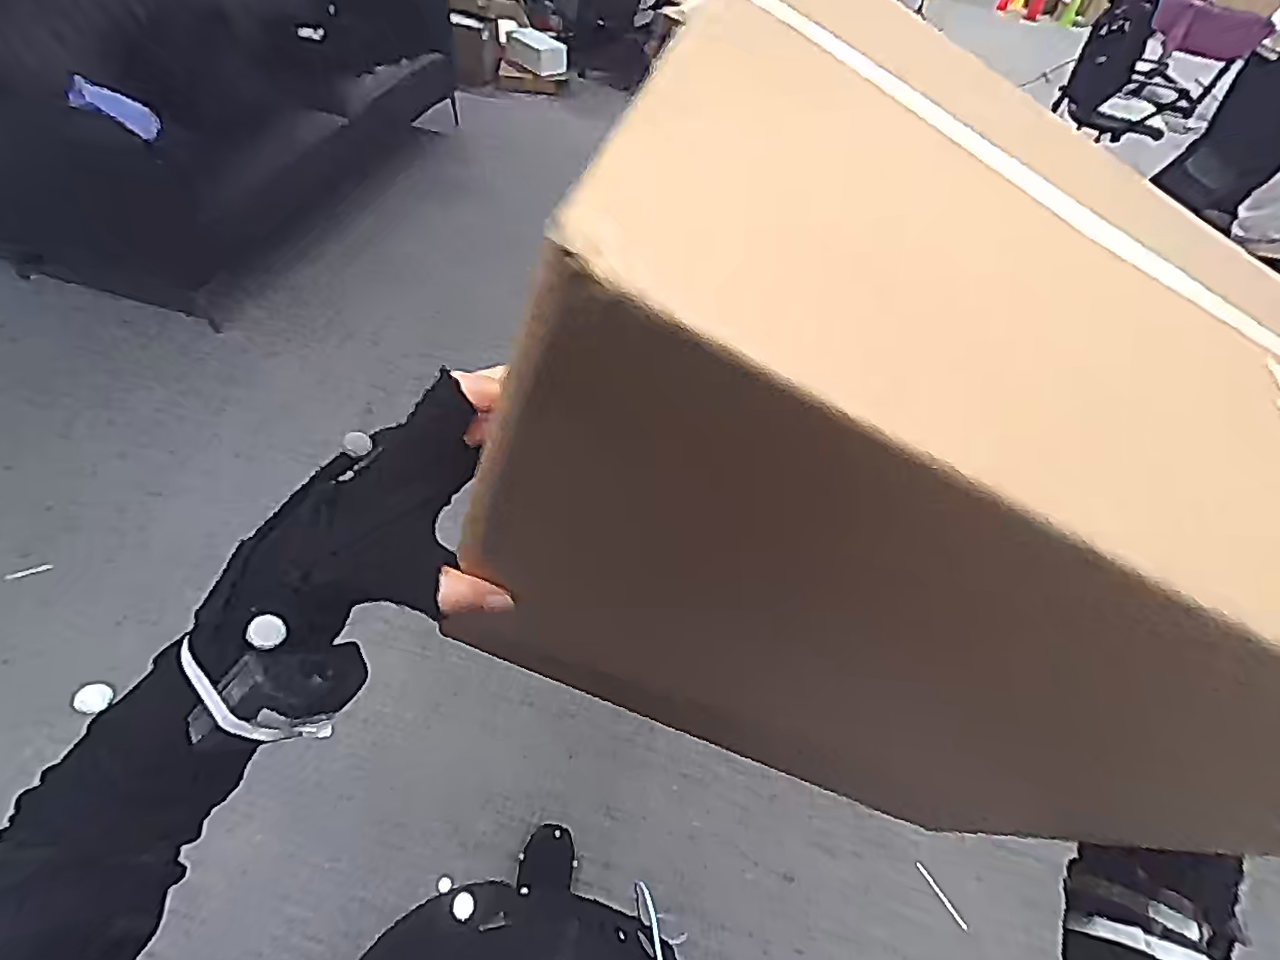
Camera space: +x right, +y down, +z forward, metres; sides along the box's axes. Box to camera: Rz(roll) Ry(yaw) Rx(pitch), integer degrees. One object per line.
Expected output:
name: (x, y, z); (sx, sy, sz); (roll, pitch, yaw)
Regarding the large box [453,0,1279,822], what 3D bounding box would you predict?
large box: (0.144, -0.009, 0.356); (0.408, 0.320, 0.320); (26, 55, -10)
